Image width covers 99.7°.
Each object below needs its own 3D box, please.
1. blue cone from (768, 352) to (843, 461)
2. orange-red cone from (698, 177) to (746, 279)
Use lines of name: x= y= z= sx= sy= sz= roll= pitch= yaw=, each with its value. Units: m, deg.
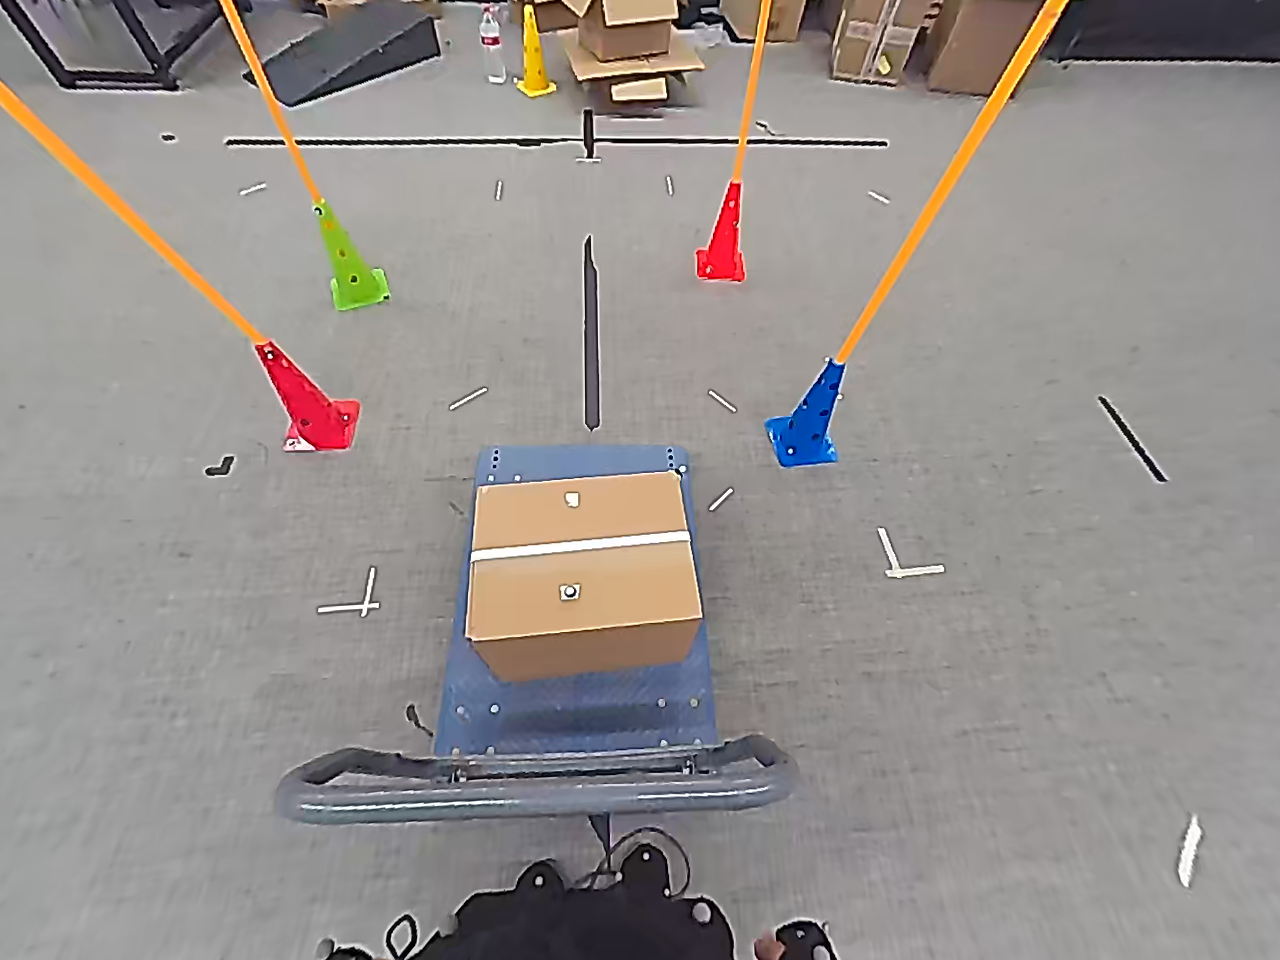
blue cone: x=0.540 y=-0.232 z=1.645 sx=0.193 sy=0.380 sz=0.192 roll=-5 pitch=57 yaw=-7
orange-red cone: x=0.349 y=-0.995 z=2.105 sx=0.199 sy=0.360 sz=0.198 roll=4 pitch=58 yaw=-1
